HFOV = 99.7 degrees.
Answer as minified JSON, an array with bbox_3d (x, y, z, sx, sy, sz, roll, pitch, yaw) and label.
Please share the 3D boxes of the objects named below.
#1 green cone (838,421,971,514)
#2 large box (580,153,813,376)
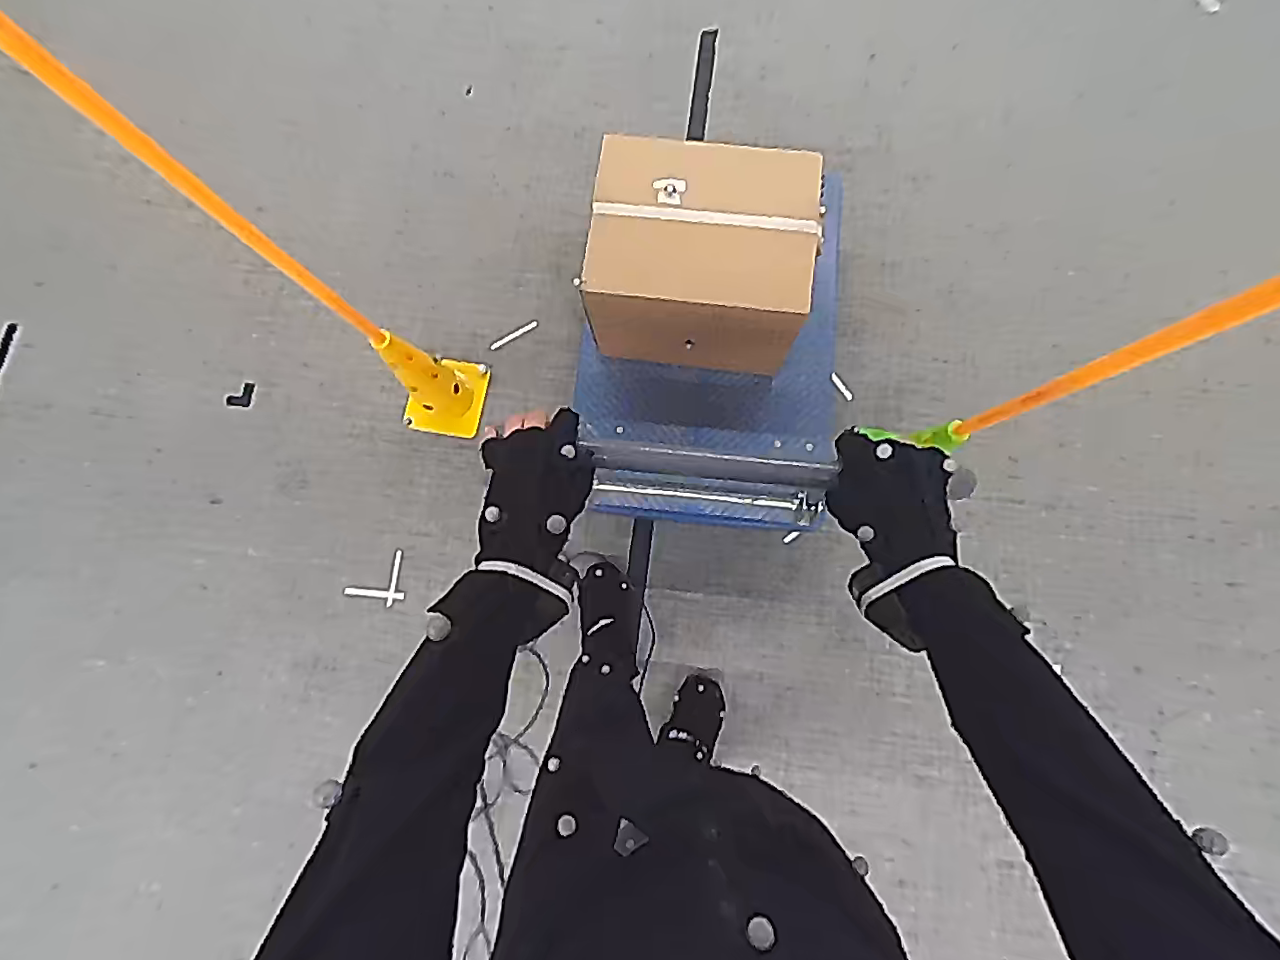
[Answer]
[{"bbox_3d":[0.597,-0.056,1.179,0.202,0.368,0.200,10,81,3],"label":"green cone"},{"bbox_3d":[0.115,-0.424,1.125,0.408,0.320,0.320,7,81,5],"label":"large box"}]
